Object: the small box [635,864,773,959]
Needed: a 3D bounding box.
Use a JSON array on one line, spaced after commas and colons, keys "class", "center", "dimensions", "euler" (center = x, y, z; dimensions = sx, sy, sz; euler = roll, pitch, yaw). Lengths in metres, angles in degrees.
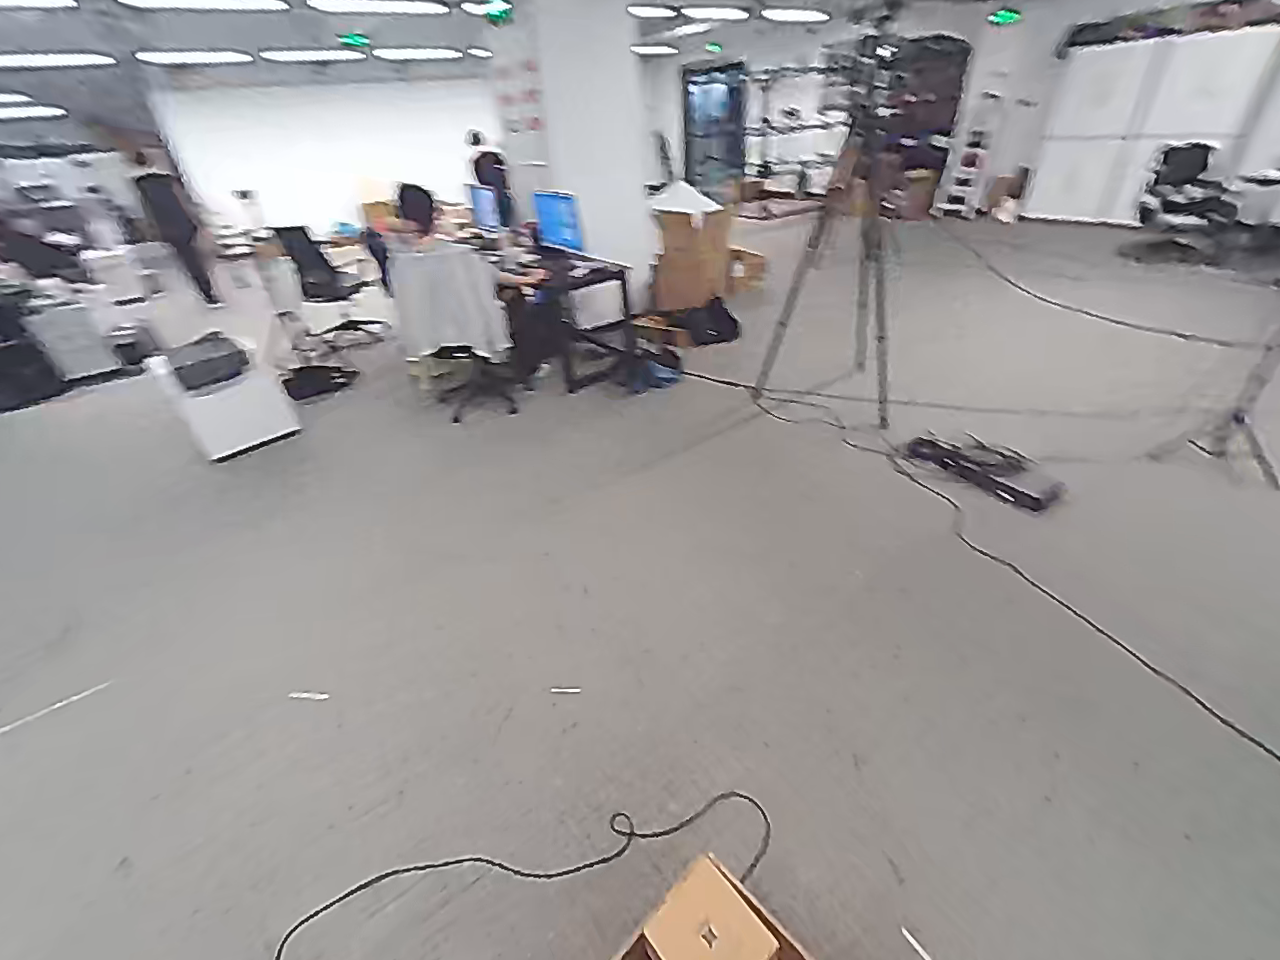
[{"class": "small box", "center": [0.111, 0.847, 0.956], "dimensions": [0.168, 0.176, 0.179], "euler": [-28, 41, -28]}]
